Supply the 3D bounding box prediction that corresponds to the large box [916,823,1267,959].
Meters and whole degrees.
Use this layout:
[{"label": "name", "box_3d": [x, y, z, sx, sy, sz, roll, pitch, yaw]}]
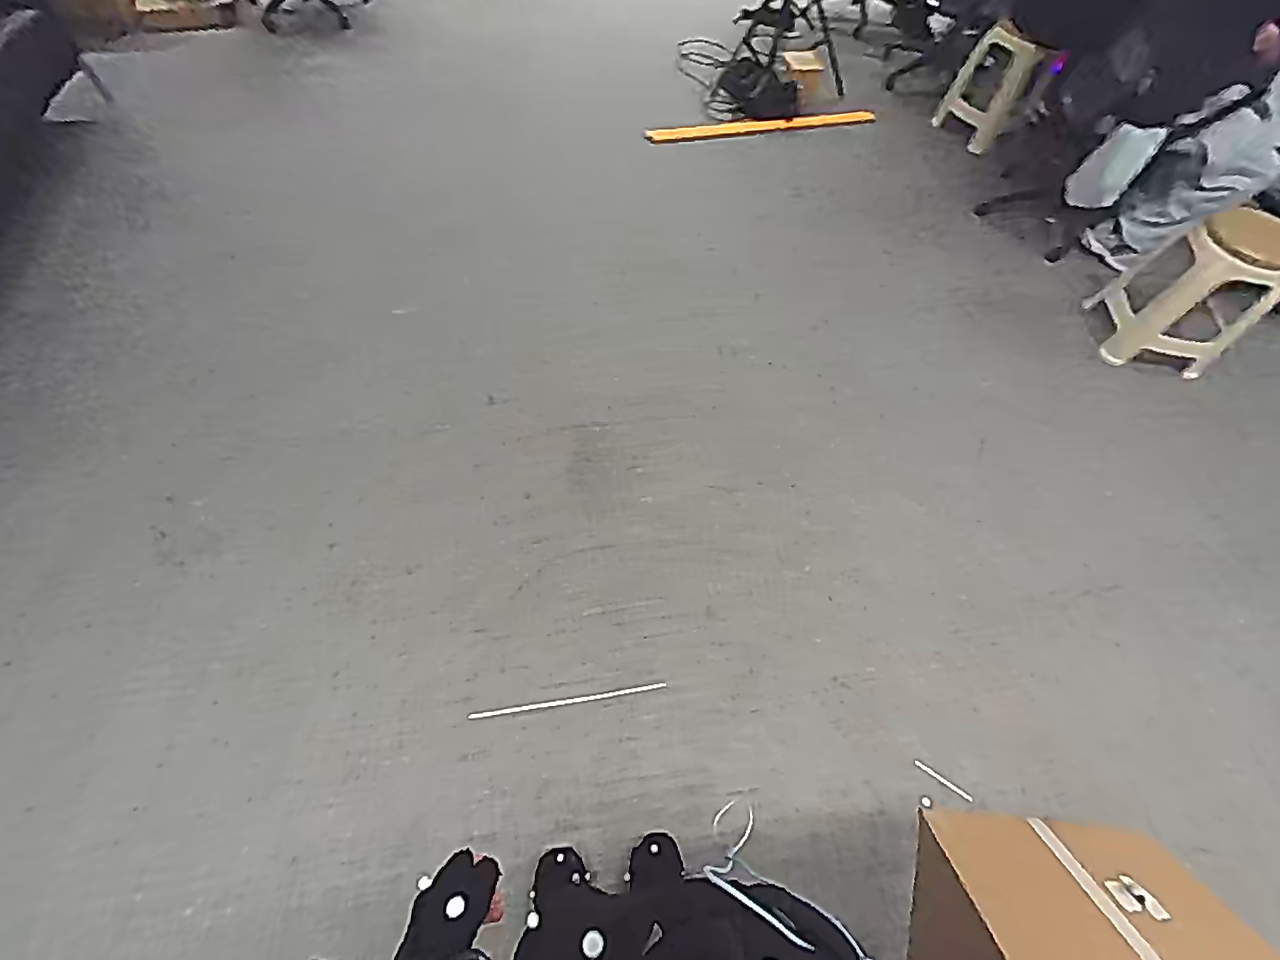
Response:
[{"label": "large box", "box_3d": [0.558, 0.692, 0.622, 0.320, 0.408, 0.320, 3, 96, 6]}]
